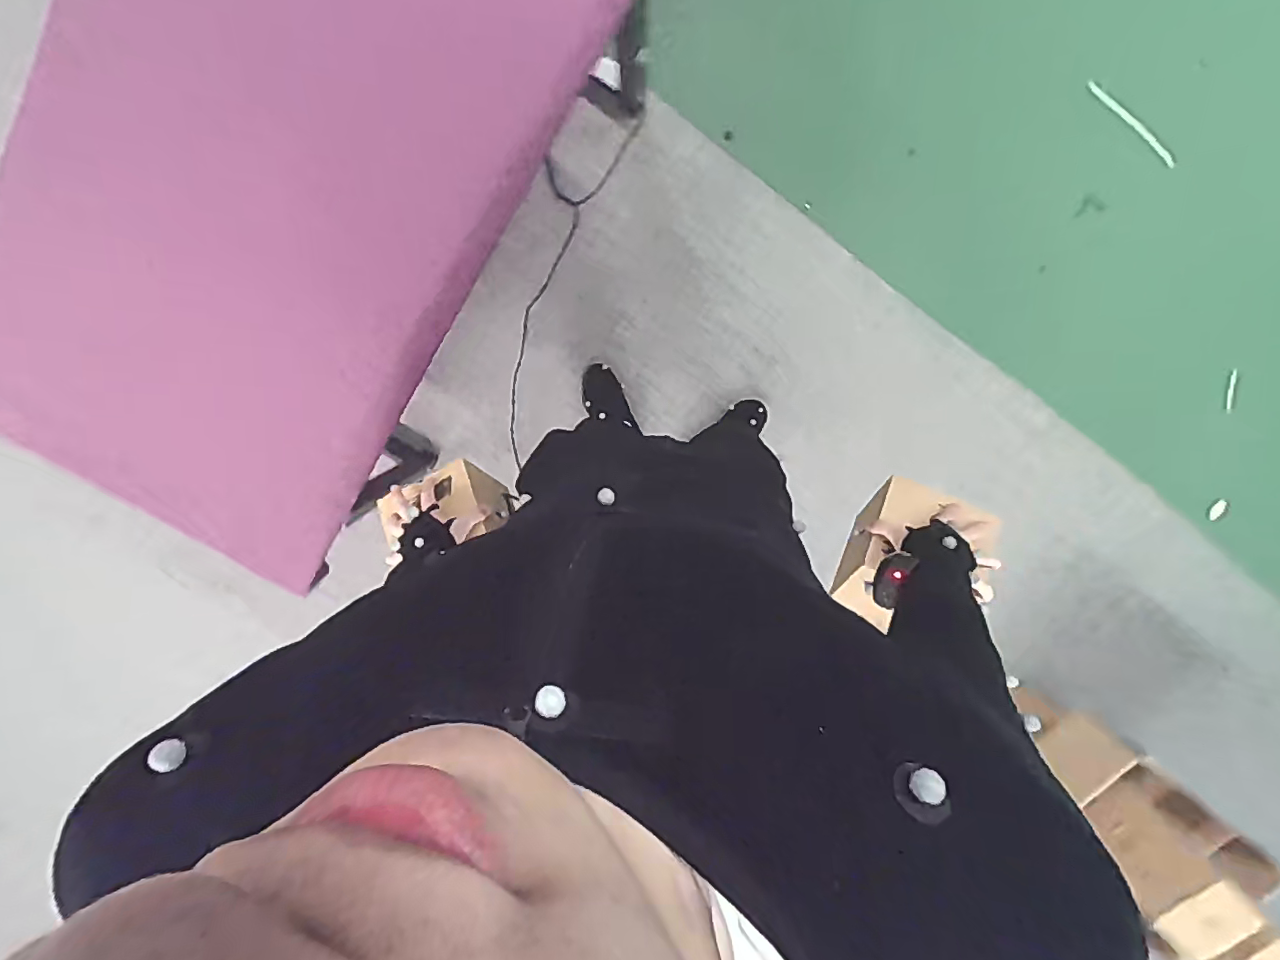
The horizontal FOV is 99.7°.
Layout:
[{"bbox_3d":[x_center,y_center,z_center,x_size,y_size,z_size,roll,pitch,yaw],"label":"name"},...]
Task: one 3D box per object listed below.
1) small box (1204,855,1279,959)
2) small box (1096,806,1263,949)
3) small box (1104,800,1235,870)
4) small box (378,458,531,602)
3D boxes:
[{"bbox_3d":[1.385,1.021,1.252,0.179,0.176,0.168,35,102,-7],"label":"small box"},{"bbox_3d":[1.190,0.876,1.210,0.179,0.176,0.168,42,101,-11],"label":"small box"},{"bbox_3d":[1.387,0.984,1.410,0.179,0.176,0.168,36,101,-8],"label":"small box"},{"bbox_3d":[-0.313,0.094,0.934,0.168,0.176,0.179,-26,68,3],"label":"small box"}]
